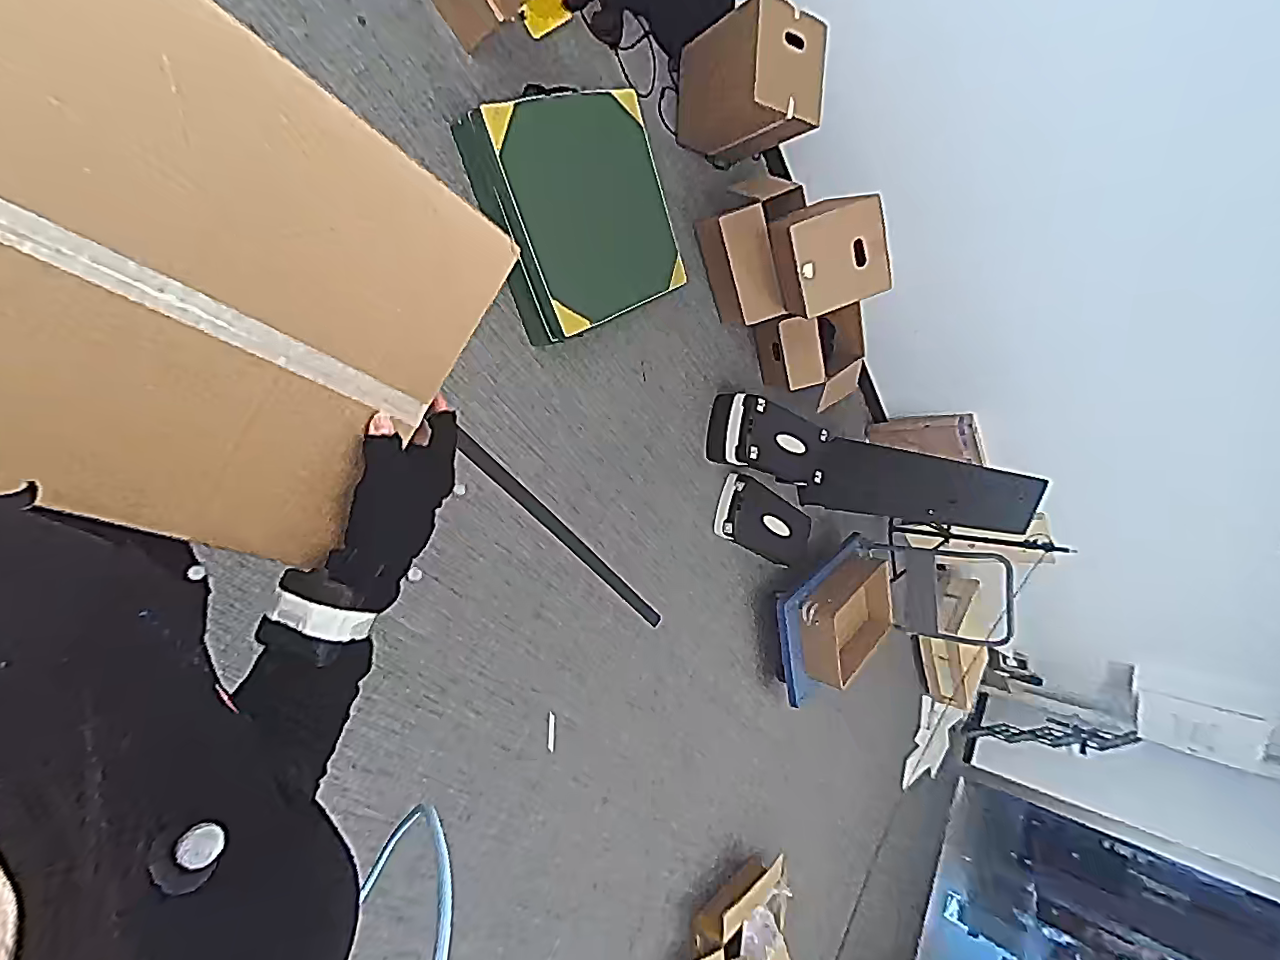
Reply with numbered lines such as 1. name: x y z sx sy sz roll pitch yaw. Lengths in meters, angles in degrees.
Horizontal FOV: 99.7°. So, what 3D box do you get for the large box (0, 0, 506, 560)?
1. large box: -0.395 -0.187 0.423 0.408 0.320 0.320 27 99 -41
